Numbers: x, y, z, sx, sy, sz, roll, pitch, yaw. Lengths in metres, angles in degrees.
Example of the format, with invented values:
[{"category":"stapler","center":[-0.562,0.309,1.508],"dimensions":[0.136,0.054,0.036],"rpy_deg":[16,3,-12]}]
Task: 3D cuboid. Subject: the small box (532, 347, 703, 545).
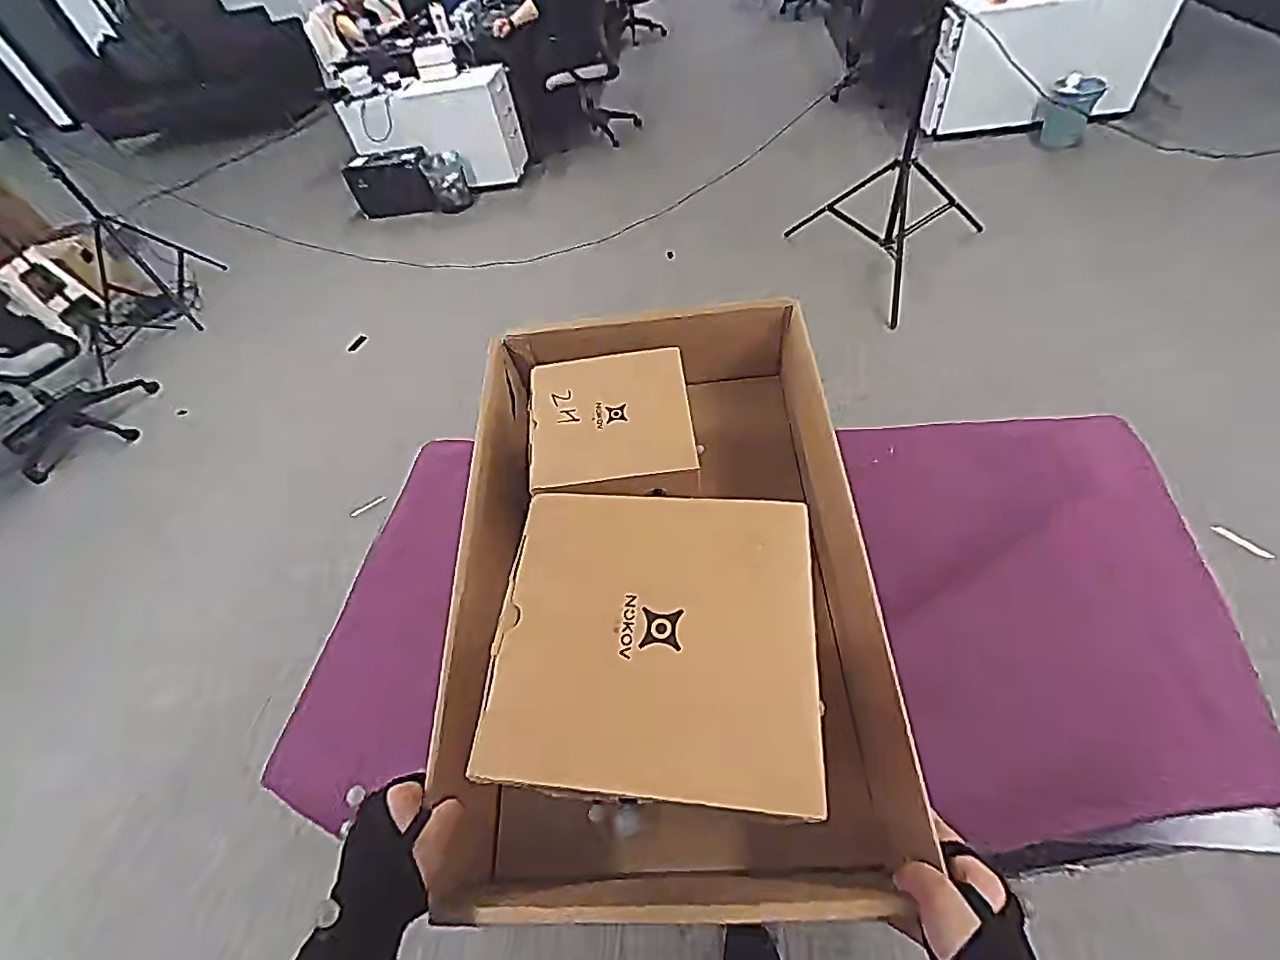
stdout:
[{"category":"small box","center":[-0.023,-0.034,0.652],"dimensions":[0.179,0.176,0.168],"rpy_deg":[-7,59,2]}]
